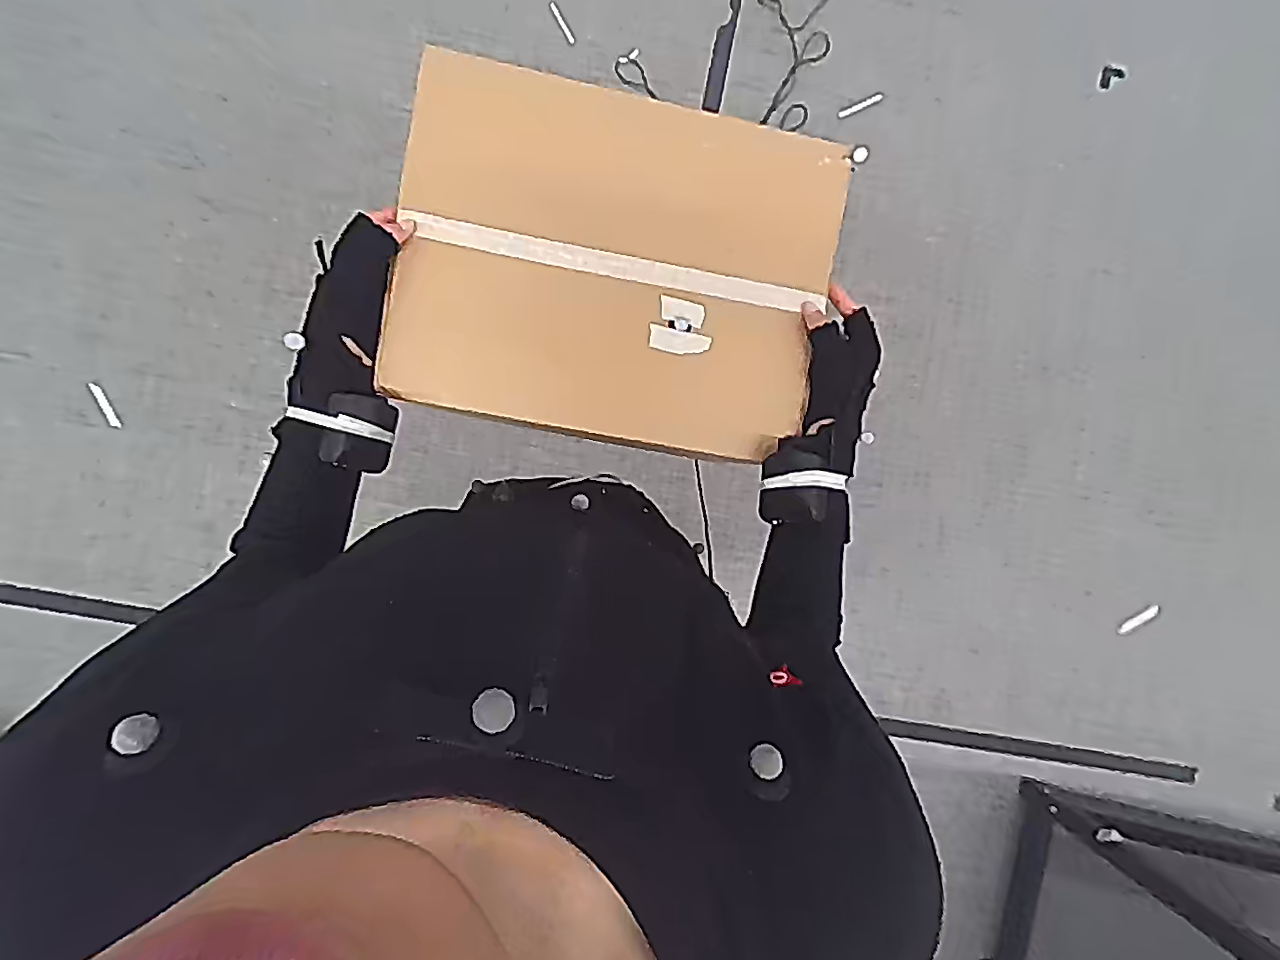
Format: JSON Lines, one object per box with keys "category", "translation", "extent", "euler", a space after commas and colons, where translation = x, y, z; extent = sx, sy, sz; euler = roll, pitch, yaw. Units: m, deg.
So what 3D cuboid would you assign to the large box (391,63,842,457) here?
{"category": "large box", "translation": [-0.034, -0.210, 0.666], "extent": [0.408, 0.320, 0.320], "euler": [10, 93, -7]}
